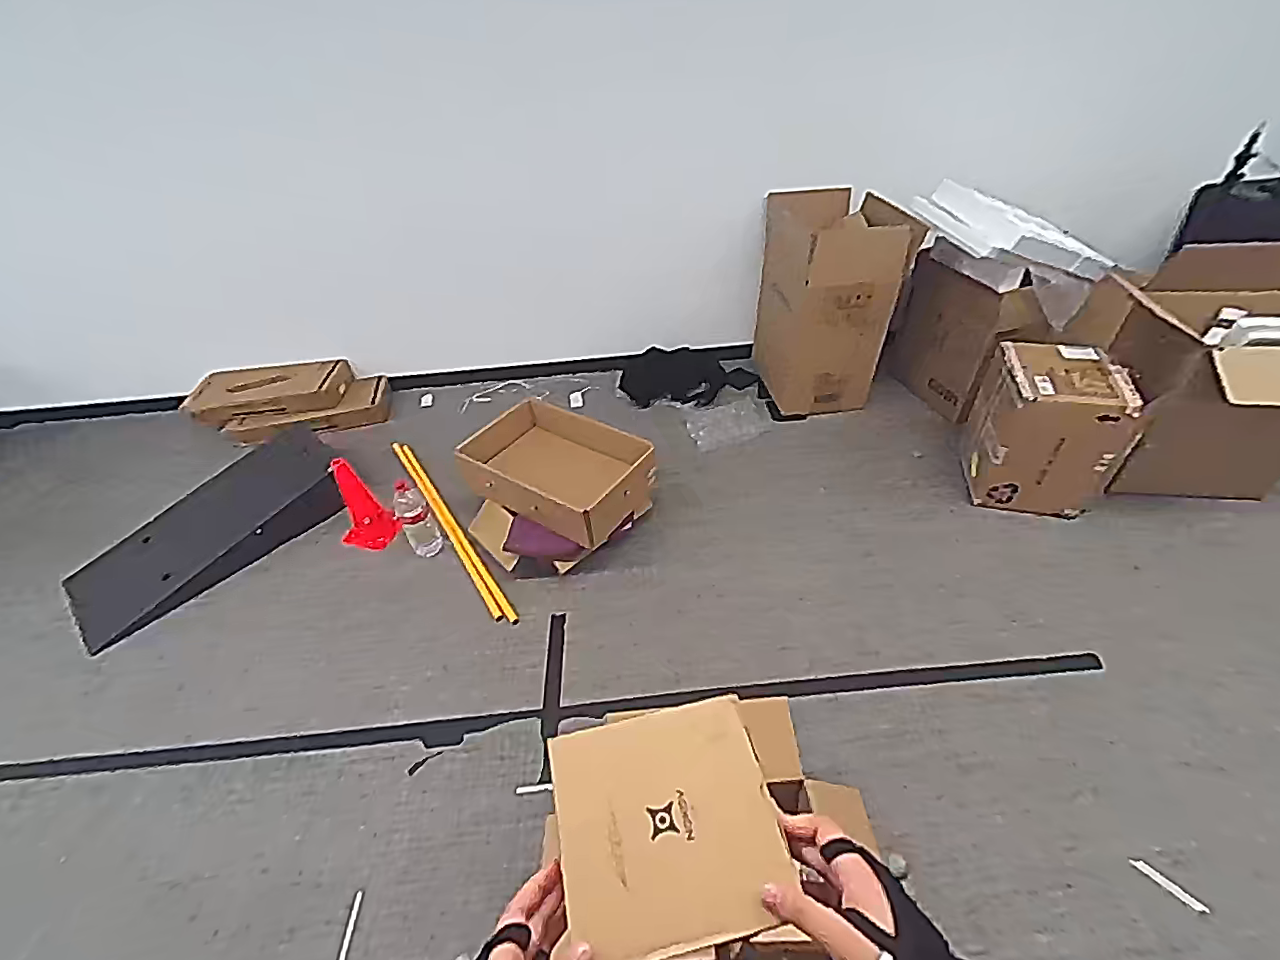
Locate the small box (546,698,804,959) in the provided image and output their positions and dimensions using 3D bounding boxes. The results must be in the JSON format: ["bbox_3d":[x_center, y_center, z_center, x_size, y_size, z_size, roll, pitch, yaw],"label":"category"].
[{"bbox_3d":[0.022,0.326,0.493,0.179,0.176,0.168,-12,48,-7],"label":"small box"}]
